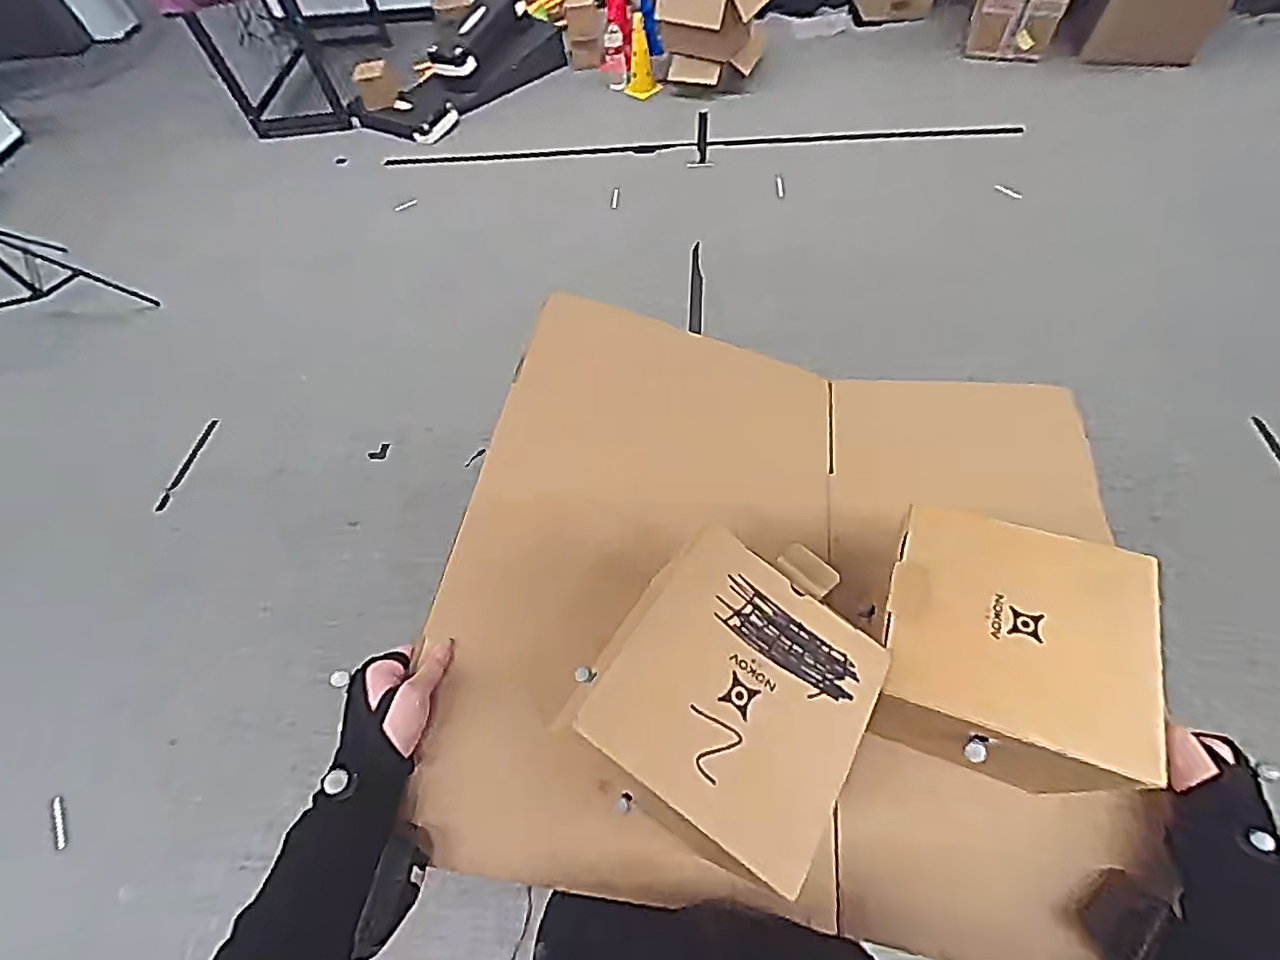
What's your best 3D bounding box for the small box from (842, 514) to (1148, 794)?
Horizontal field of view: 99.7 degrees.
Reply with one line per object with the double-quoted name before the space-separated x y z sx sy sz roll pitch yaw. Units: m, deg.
"small box" 0.295 0.157 0.481 0.179 0.176 0.168 14 63 20
